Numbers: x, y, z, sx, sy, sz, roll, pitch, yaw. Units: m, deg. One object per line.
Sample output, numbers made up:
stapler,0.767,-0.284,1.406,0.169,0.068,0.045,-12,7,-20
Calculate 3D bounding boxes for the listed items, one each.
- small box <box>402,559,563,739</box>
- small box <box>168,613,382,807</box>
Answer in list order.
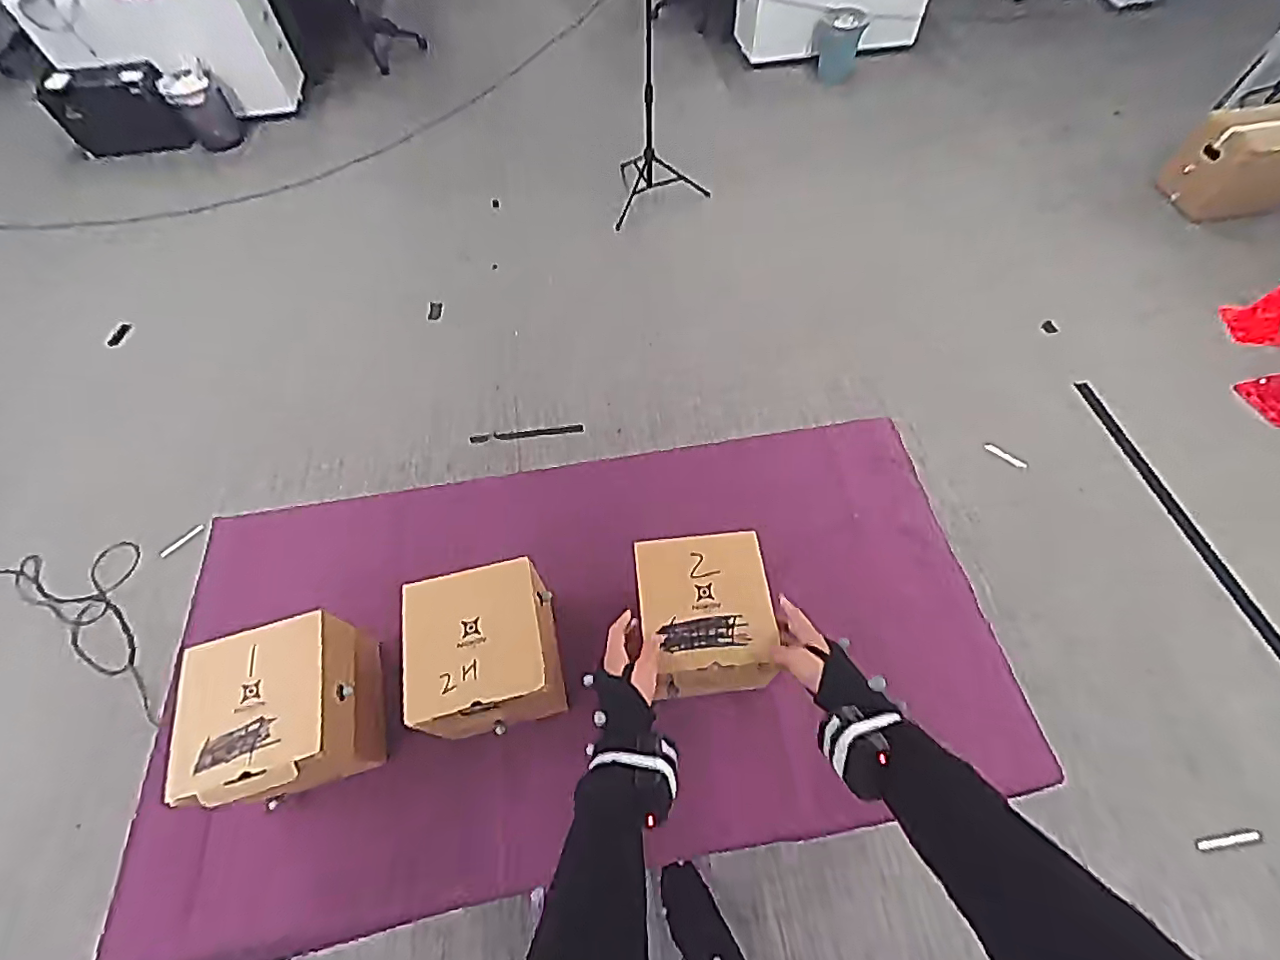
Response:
small box,-0.207,0.233,0.733,0.168,0.176,0.179,-13,60,-5
small box,-0.453,0.300,0.702,0.168,0.176,0.179,-16,59,-8
